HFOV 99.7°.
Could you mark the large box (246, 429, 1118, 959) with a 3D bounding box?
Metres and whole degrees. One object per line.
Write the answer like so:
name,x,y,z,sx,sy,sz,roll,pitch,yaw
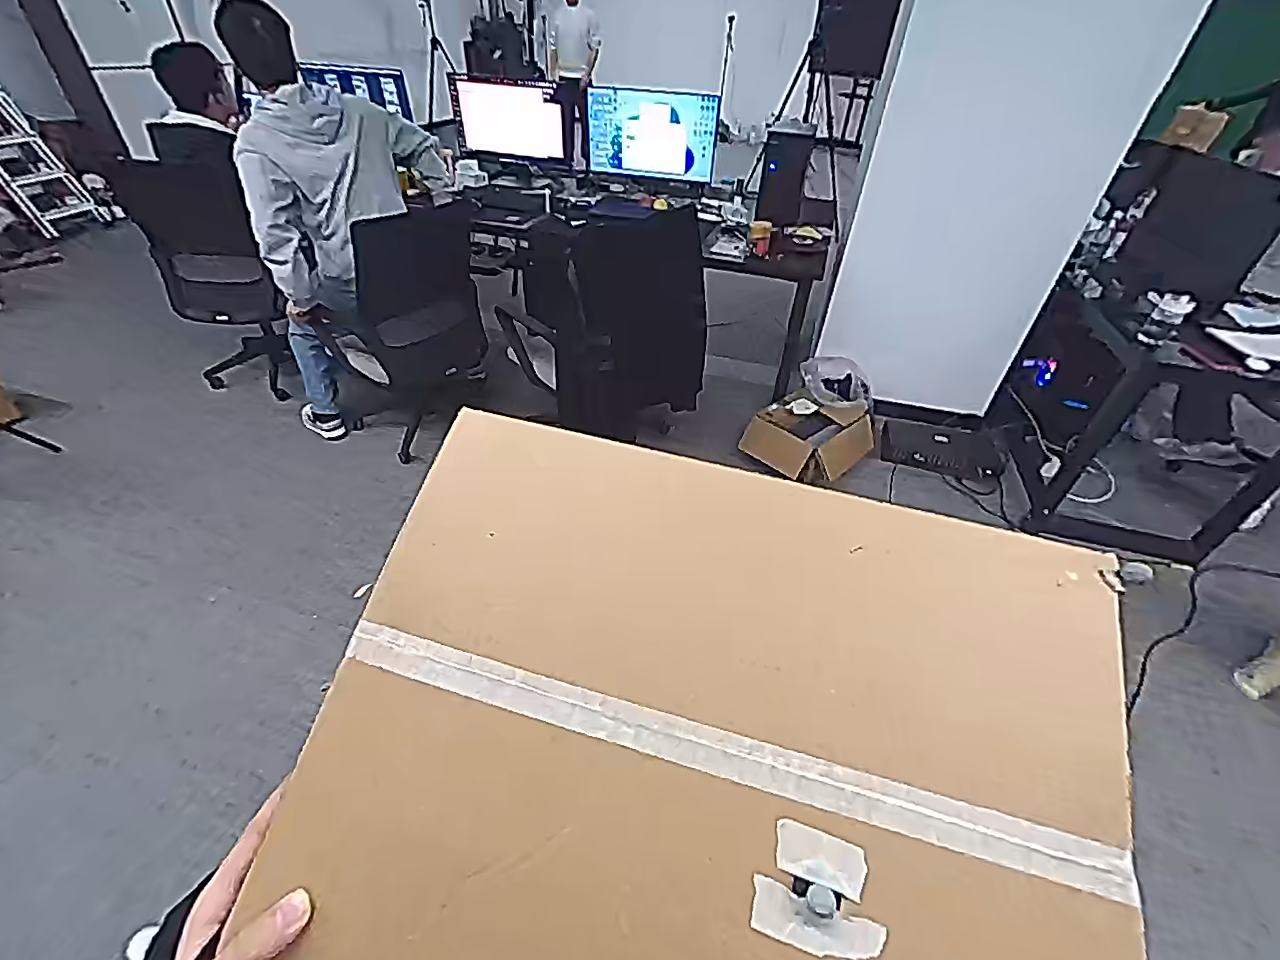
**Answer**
large box,0.041,0.198,0.426,0.408,0.320,0.320,13,69,9
